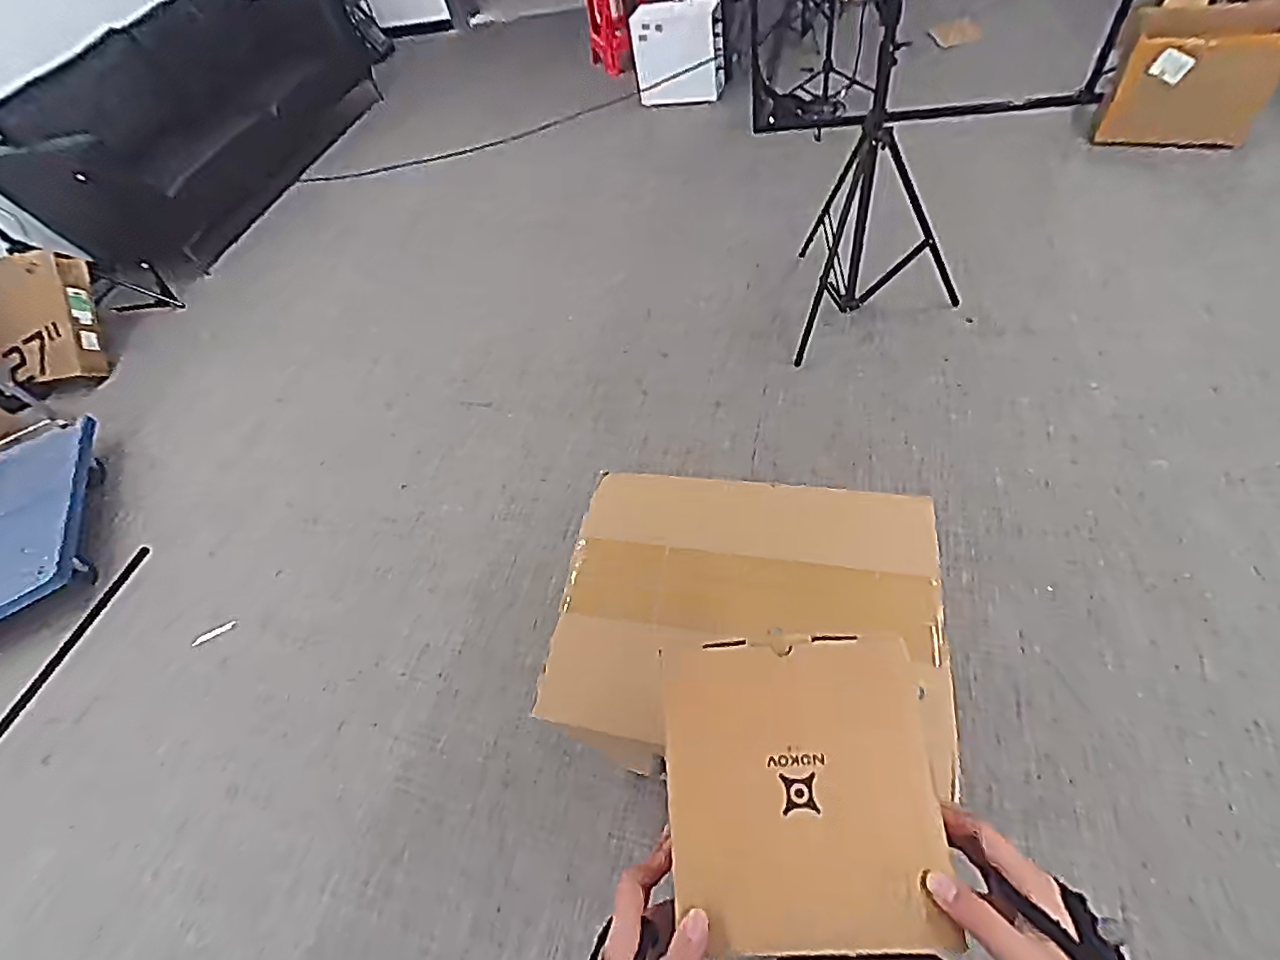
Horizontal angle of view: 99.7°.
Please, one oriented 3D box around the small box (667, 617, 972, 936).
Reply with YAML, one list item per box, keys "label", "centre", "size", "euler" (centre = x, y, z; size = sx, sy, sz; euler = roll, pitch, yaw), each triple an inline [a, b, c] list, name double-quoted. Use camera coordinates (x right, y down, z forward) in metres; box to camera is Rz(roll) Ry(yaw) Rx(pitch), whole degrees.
- label: "small box"
  centre: [0.111, 0.202, 0.411]
  size: [0.168, 0.176, 0.179]
  euler: [-5, 71, 4]
